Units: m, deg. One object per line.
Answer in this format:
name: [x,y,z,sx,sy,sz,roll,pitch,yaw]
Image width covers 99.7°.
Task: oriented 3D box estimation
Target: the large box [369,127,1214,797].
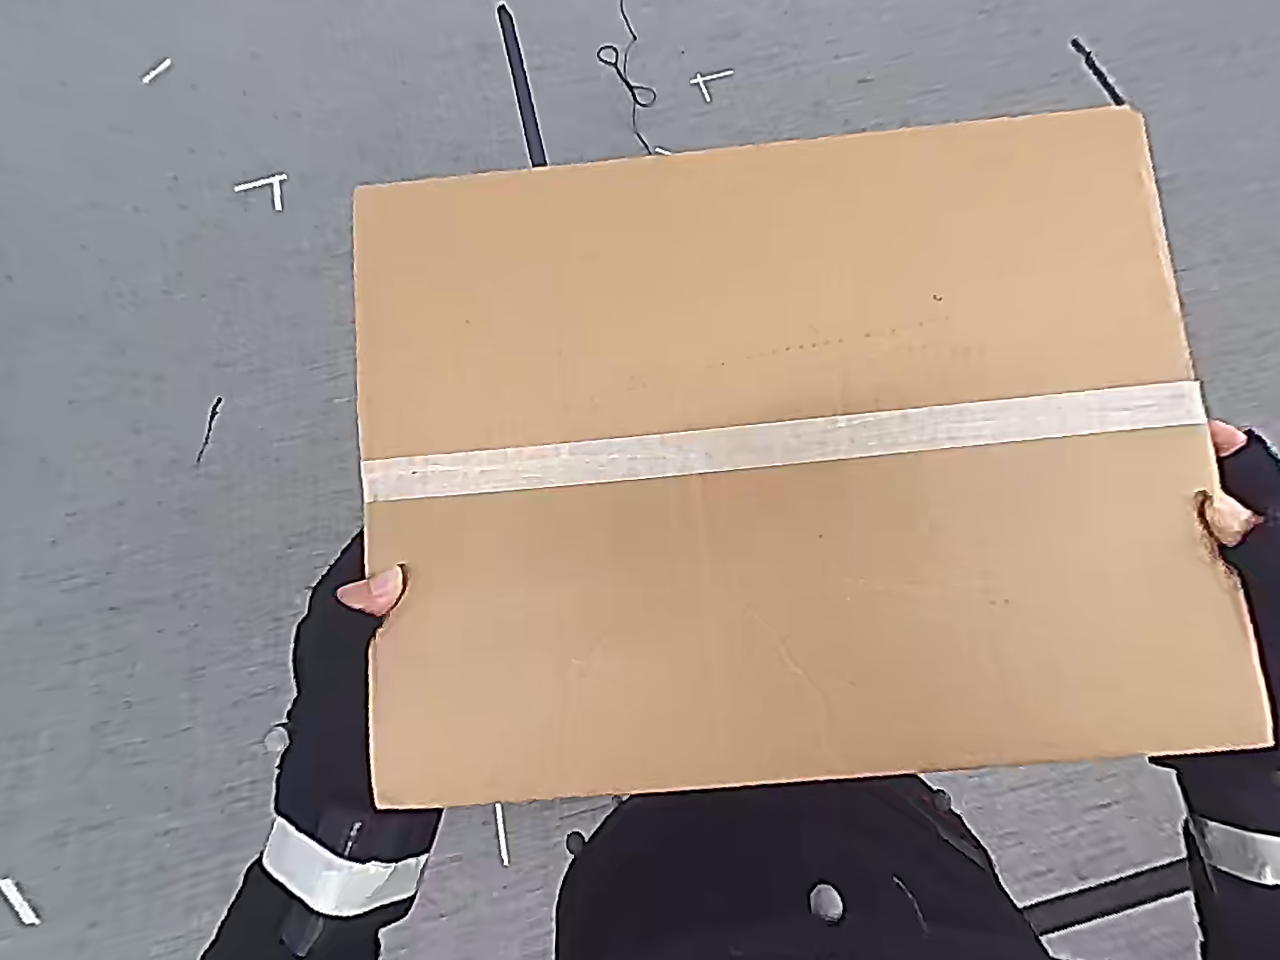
large box: [0.069,-0.001,0.424,0.408,0.320,0.320,-6,83,2]
